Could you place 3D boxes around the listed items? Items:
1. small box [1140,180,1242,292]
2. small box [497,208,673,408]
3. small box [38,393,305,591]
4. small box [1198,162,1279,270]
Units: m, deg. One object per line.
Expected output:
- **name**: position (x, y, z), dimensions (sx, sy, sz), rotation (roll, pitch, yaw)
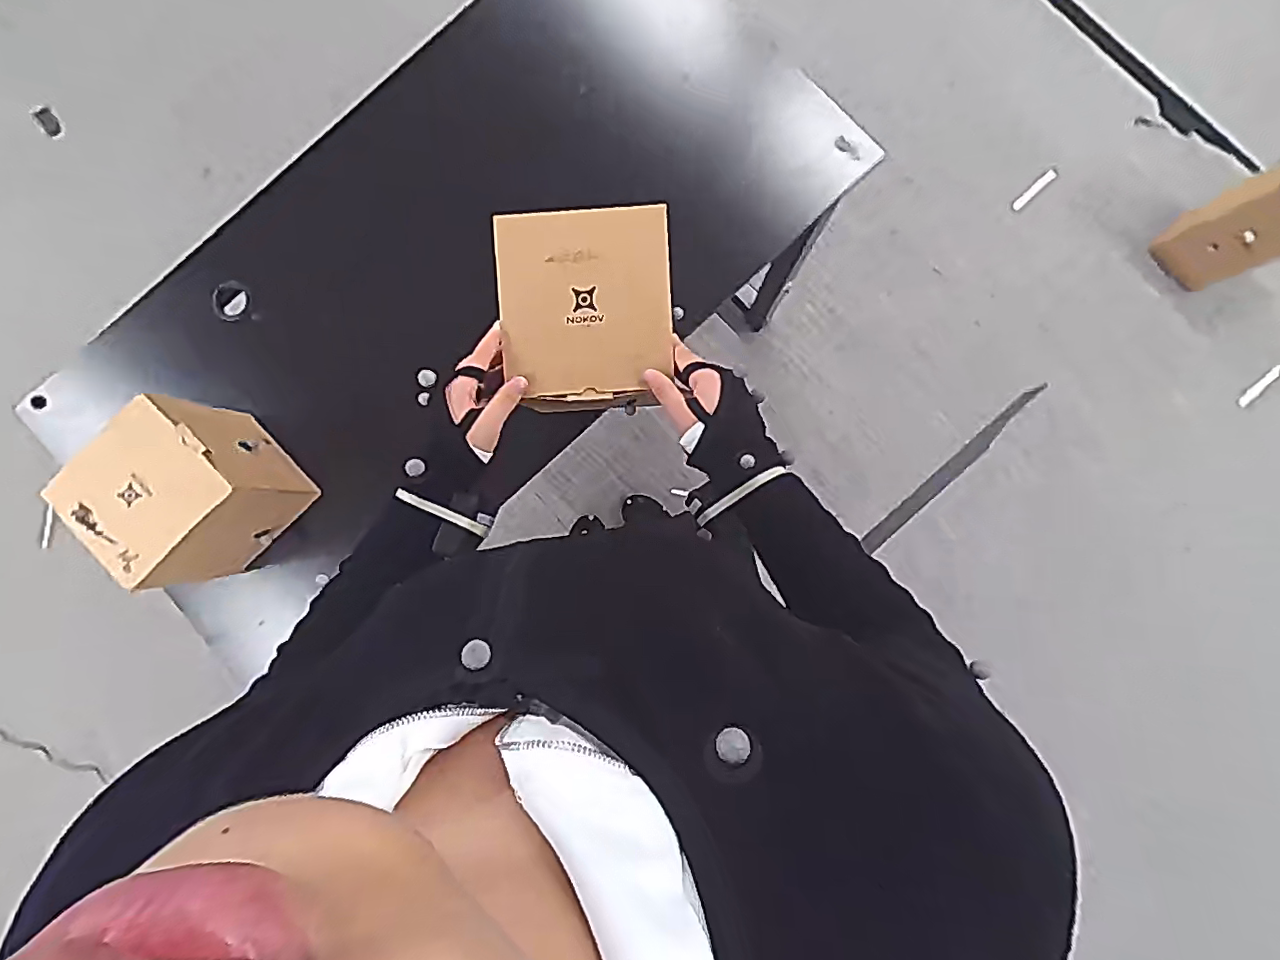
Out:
- **small box**: position (1.494, -0.629, 1.421), dimensions (0.168, 0.176, 0.179), rotation (-42, 88, 0)
- **small box**: position (-0.050, -0.171, 0.593), dimensions (0.168, 0.176, 0.179), rotation (-3, 93, 0)
- **small box**: position (-0.585, 0.018, 0.709), dimensions (0.179, 0.176, 0.168), rotation (-45, 87, -2)
- **small box**: position (1.487, -0.631, 1.257), dimensions (0.179, 0.176, 0.168), rotation (-43, 87, 0)
